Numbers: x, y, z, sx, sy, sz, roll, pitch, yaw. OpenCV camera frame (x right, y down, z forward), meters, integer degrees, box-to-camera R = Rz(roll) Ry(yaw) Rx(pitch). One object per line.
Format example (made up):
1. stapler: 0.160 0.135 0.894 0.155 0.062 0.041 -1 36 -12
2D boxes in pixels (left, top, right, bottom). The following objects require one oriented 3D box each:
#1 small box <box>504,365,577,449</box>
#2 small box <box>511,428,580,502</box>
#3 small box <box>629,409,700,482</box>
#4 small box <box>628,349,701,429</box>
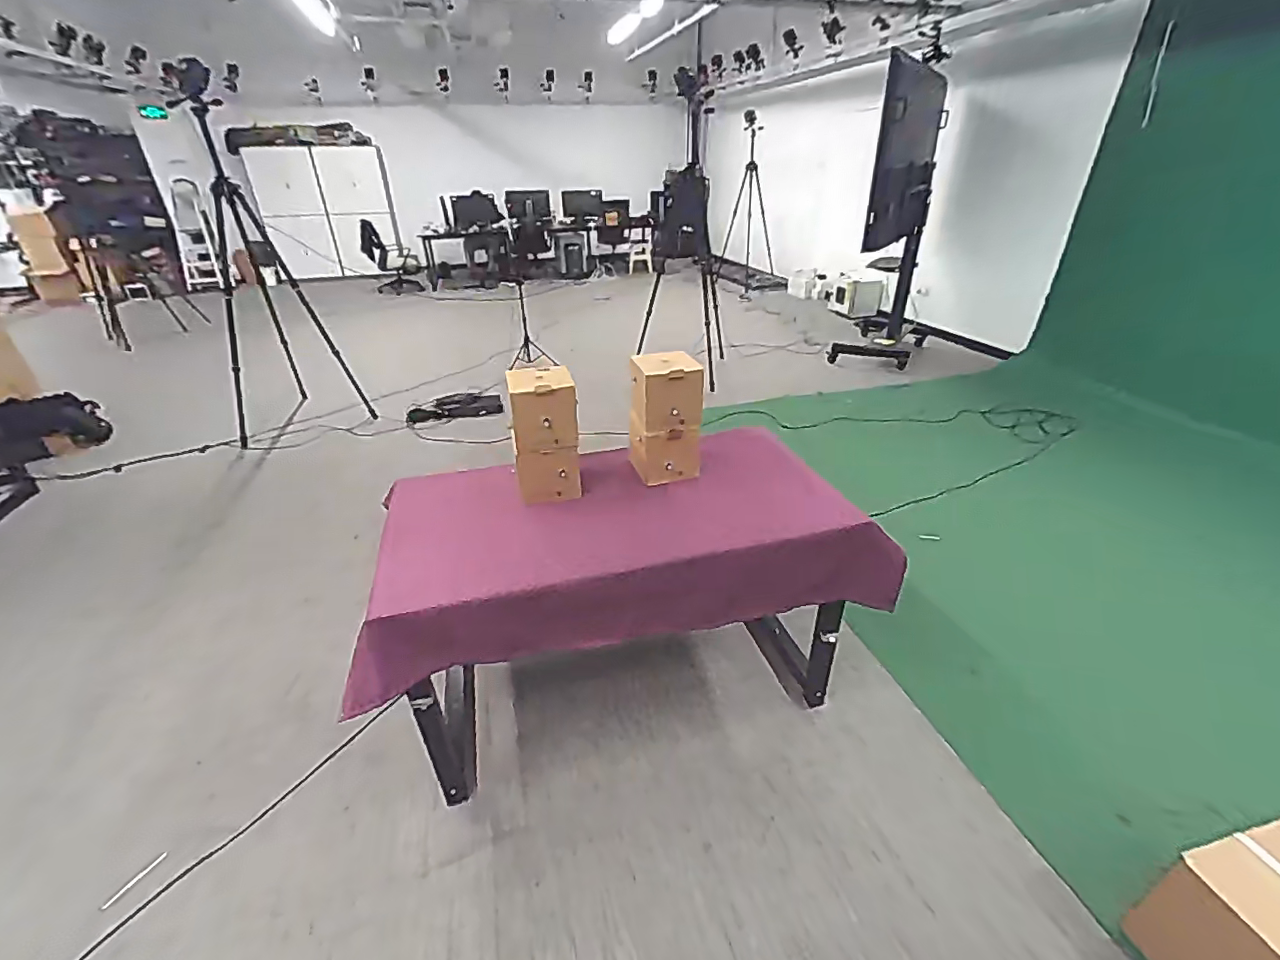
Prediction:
1. small box: -0.265 -0.191 1.439 0.168 0.176 0.179 -8 32 -13
2. small box: -0.267 -0.049 1.524 0.168 0.176 0.179 -9 31 -13
3. small box: 0.067 -0.113 1.608 0.168 0.176 0.179 -11 32 -14
4. small box: 0.066 -0.260 1.531 0.168 0.176 0.179 -10 32 -12
